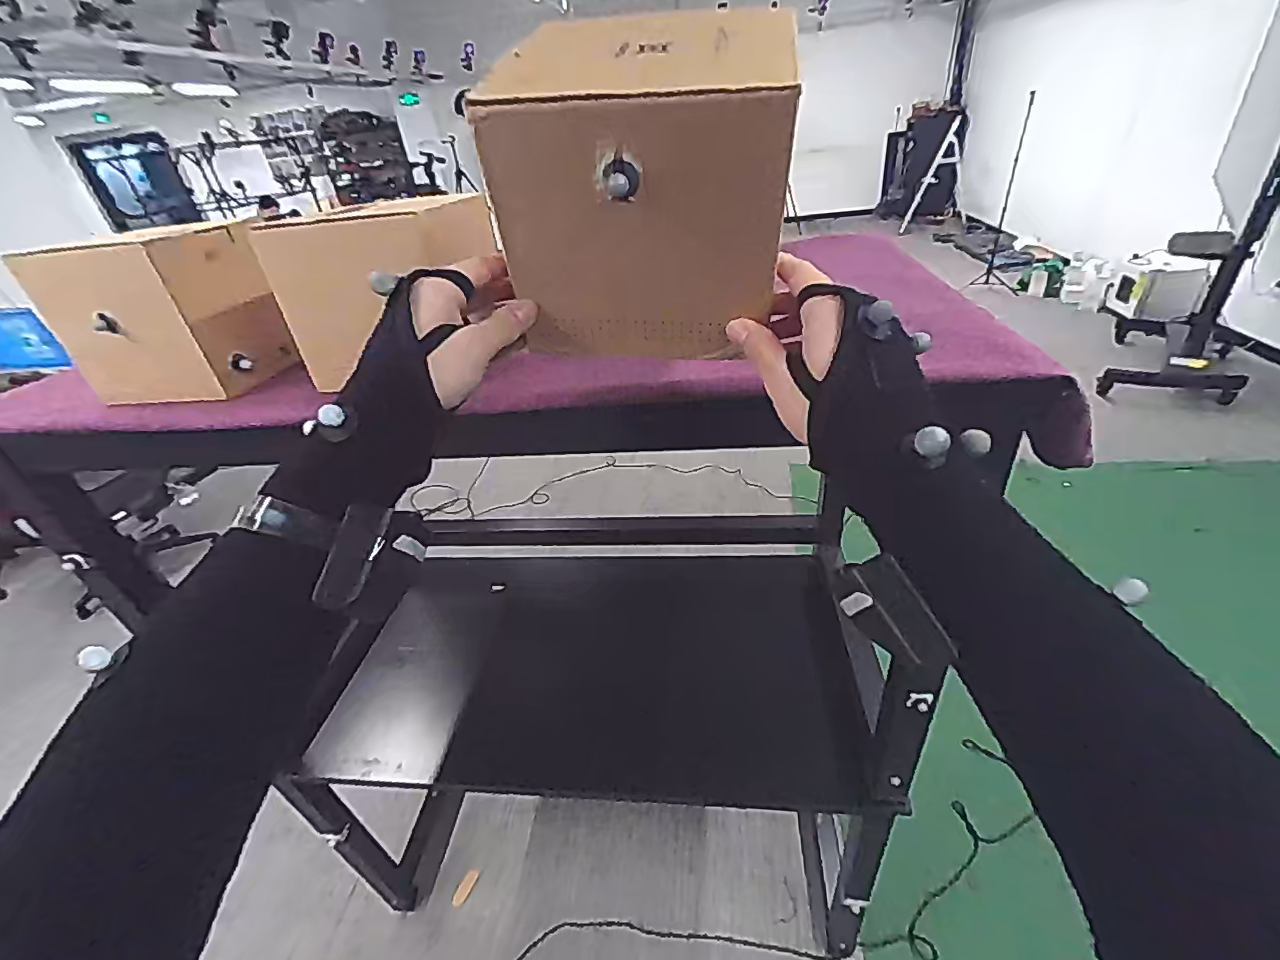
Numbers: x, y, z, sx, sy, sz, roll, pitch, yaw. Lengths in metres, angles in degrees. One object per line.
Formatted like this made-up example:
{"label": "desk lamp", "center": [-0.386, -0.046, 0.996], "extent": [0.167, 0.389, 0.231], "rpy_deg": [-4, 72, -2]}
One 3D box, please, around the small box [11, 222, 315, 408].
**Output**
{"label": "small box", "center": [-0.534, -0.195, 0.641], "extent": [0.179, 0.176, 0.168], "rpy_deg": [-1, 33, 10]}

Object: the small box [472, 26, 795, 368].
{"label": "small box", "center": [0.012, -0.197, 0.390], "extent": [0.179, 0.176, 0.168], "rpy_deg": [4, 51, 9]}
